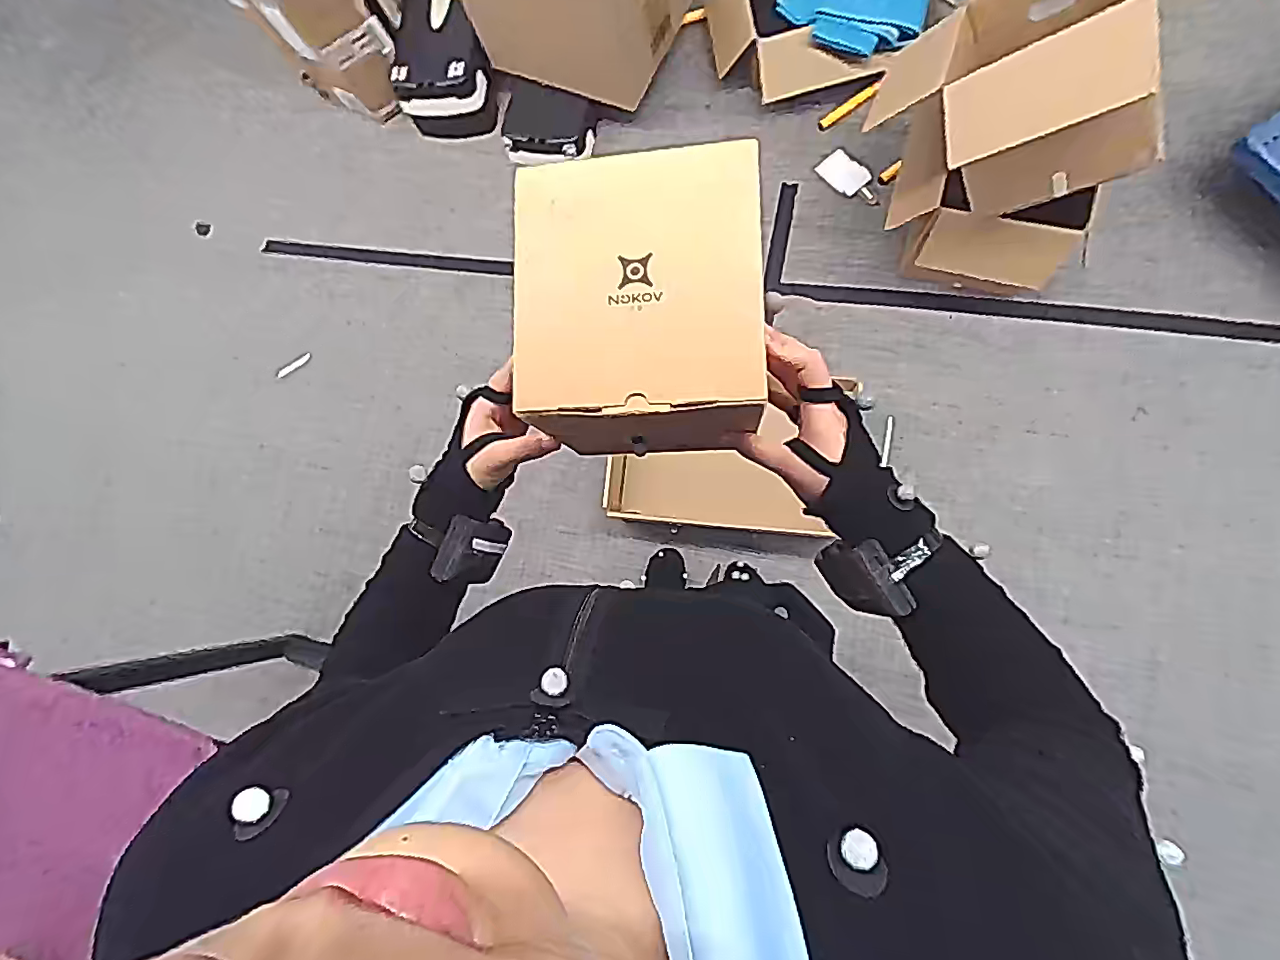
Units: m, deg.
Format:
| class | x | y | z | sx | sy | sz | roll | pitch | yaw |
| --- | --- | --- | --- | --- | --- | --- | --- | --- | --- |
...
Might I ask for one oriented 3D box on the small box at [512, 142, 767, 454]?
| class | x | y | z | sx | sy | sz | roll | pitch | yaw |
| --- | --- | --- | --- | --- | --- | --- | --- | --- | --- |
| small box | 0.007 | -0.122 | 0.429 | 0.168 | 0.176 | 0.179 | -3 | 84 | 8 |
